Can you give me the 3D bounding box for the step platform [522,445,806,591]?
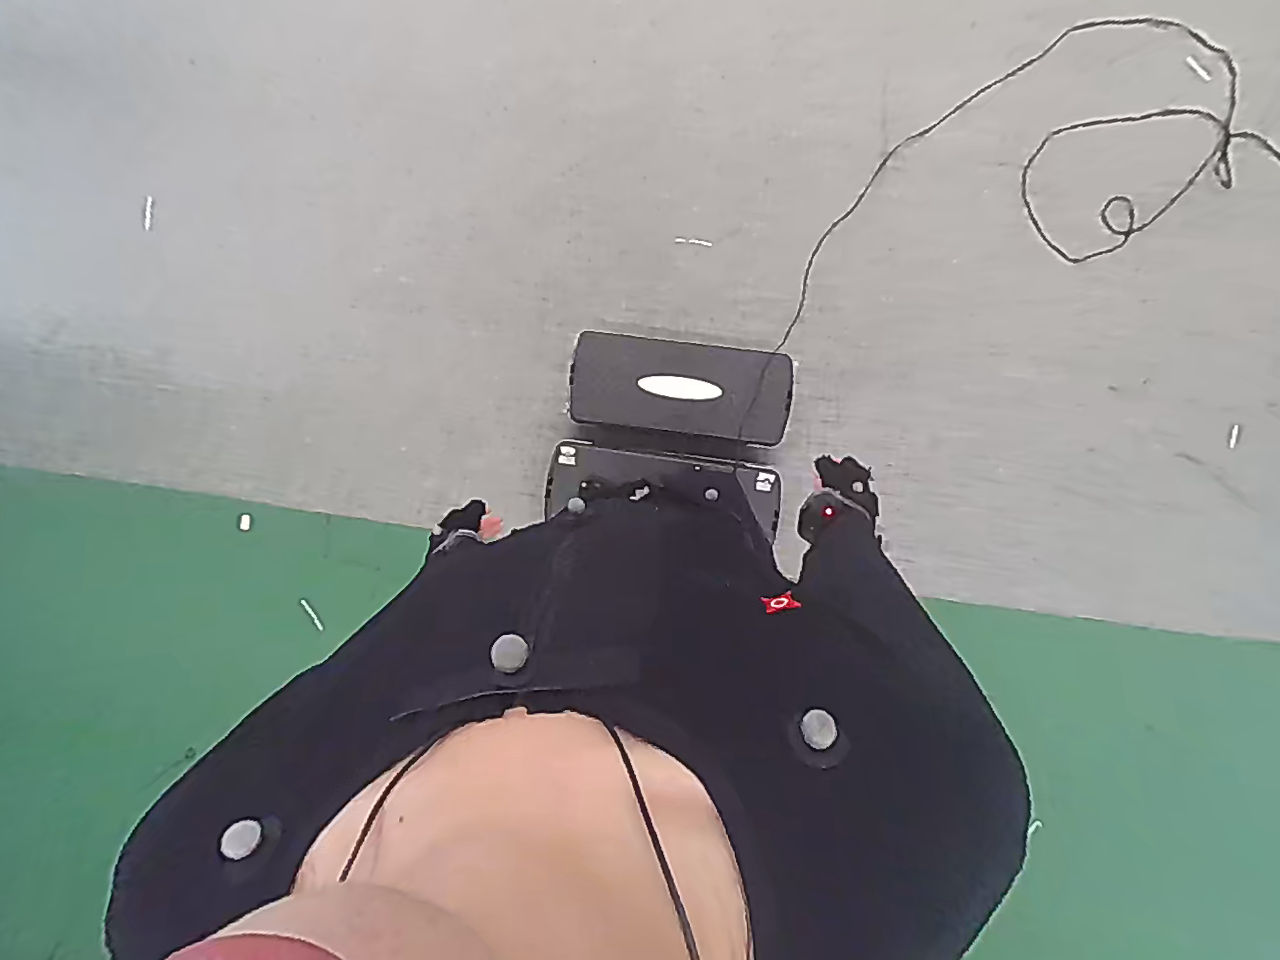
[{"bbox_3d":[0.058,0.088,1.396,0.684,0.204,0.286,7,92,1],"label":"step platform"}]
